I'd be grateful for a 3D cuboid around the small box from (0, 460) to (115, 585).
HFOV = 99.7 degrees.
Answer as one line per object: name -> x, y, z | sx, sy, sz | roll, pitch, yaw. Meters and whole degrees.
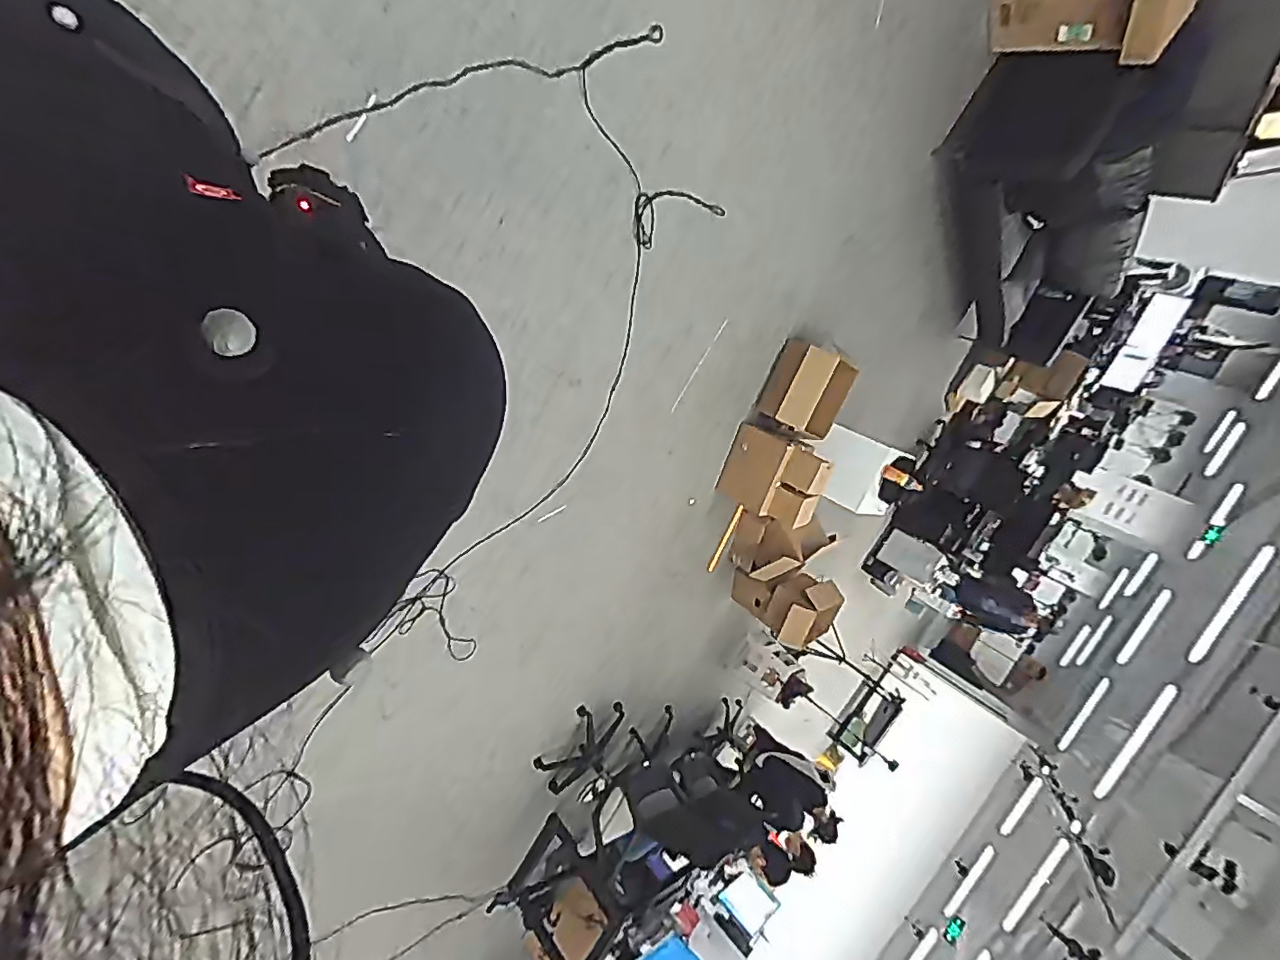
small box -> -1.191, 0.086, 1.076 | 0.168, 0.176, 0.179 | 21, 100, -53
